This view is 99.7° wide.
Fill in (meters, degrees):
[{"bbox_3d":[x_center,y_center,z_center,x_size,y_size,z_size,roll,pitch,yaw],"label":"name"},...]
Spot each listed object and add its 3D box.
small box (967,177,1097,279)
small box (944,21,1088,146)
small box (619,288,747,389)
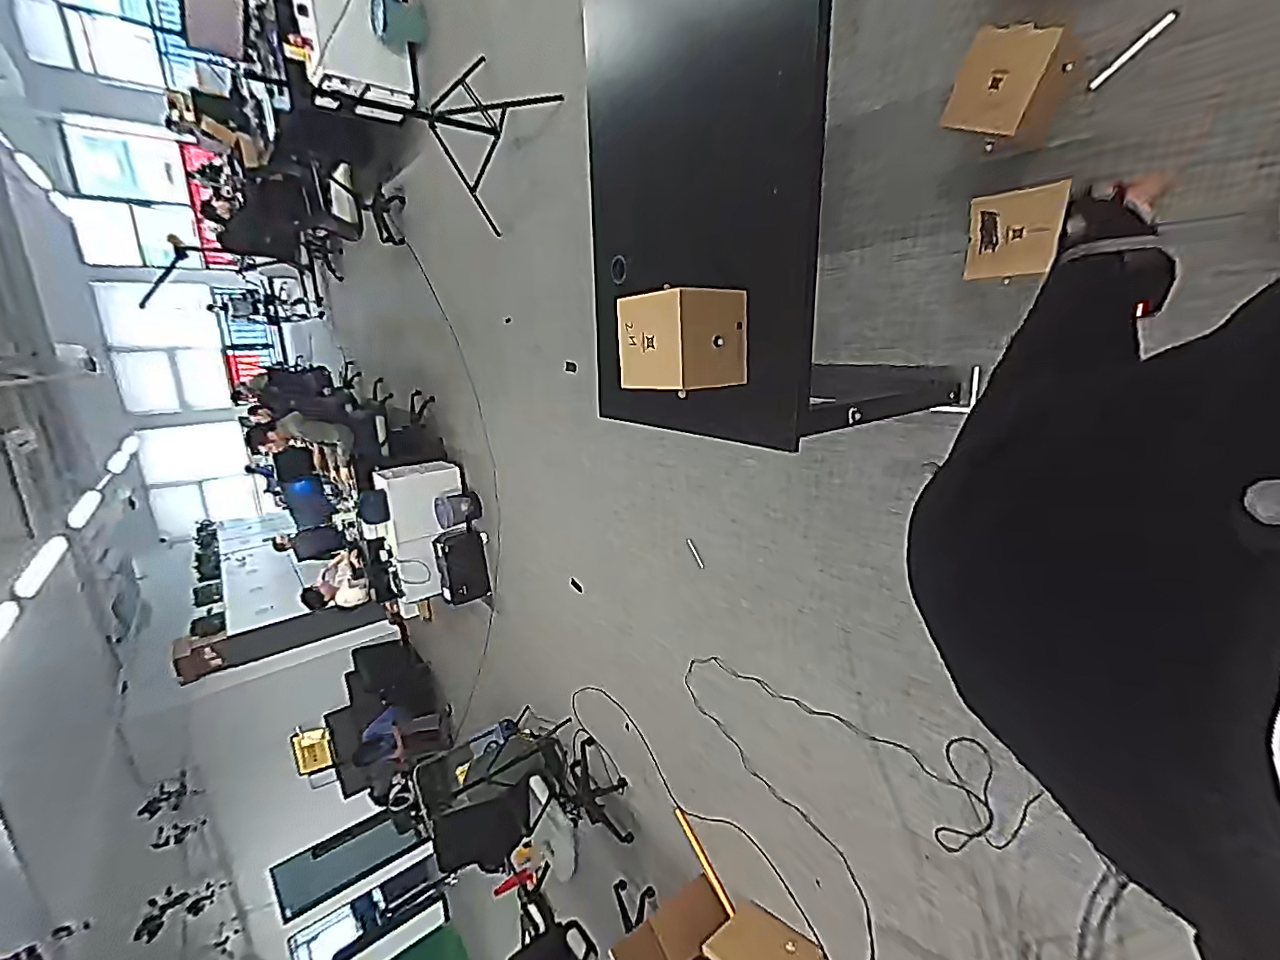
[{"bbox_3d":[0.836,-0.527,1.157,0.179,0.176,0.168,15,113,48],"label":"small box"},{"bbox_3d":[0.787,-0.823,1.129,0.168,0.176,0.179,42,133,38],"label":"small box"},{"bbox_3d":[0.082,-0.261,1.002,0.179,0.176,0.168,14,111,51],"label":"small box"}]
